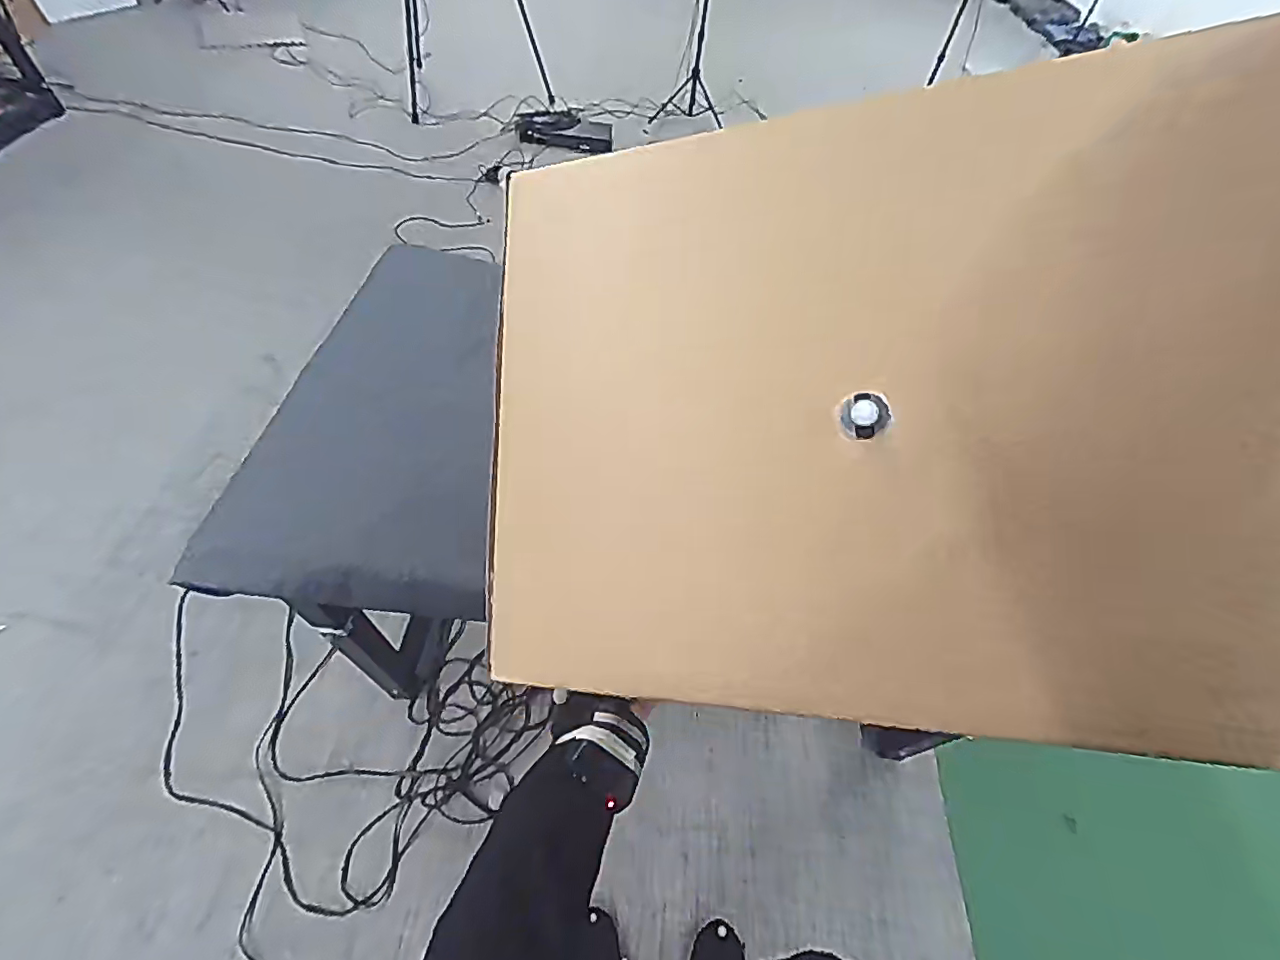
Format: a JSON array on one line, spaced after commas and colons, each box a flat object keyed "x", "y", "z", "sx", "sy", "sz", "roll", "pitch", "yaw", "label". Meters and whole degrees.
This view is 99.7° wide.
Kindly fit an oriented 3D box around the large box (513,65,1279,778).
[{"x": 0.156, "y": -0.012, "z": 0.413, "sx": 0.408, "sy": 0.320, "sz": 0.320, "roll": -2, "pitch": 83, "yaw": 17, "label": "large box"}]
